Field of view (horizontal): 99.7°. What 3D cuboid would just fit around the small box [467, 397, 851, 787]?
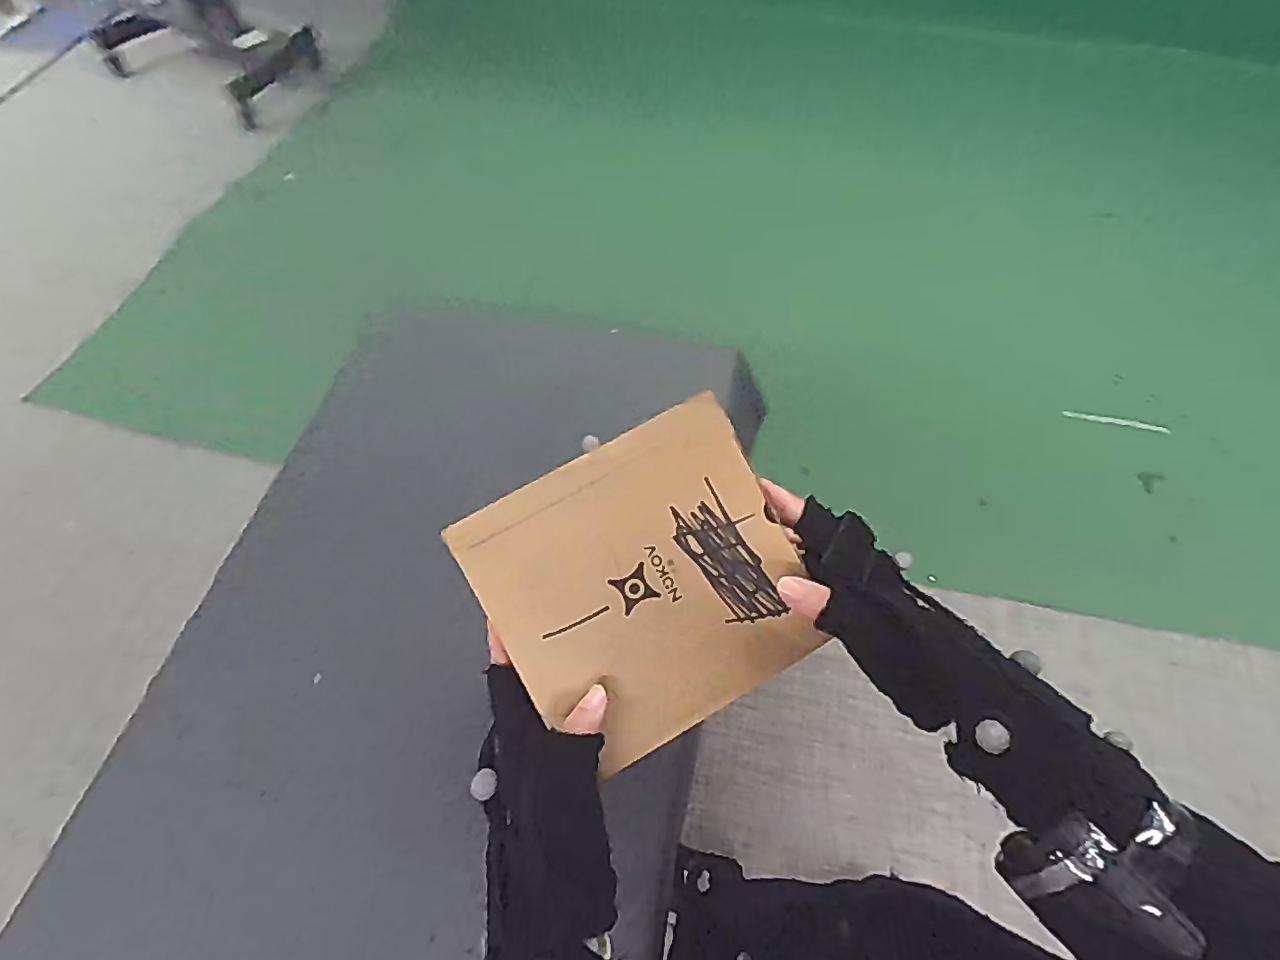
[{"bbox_3d":[0.005,0.064,0.389,0.179,0.176,0.168,-30,91,-8],"label":"small box"}]
